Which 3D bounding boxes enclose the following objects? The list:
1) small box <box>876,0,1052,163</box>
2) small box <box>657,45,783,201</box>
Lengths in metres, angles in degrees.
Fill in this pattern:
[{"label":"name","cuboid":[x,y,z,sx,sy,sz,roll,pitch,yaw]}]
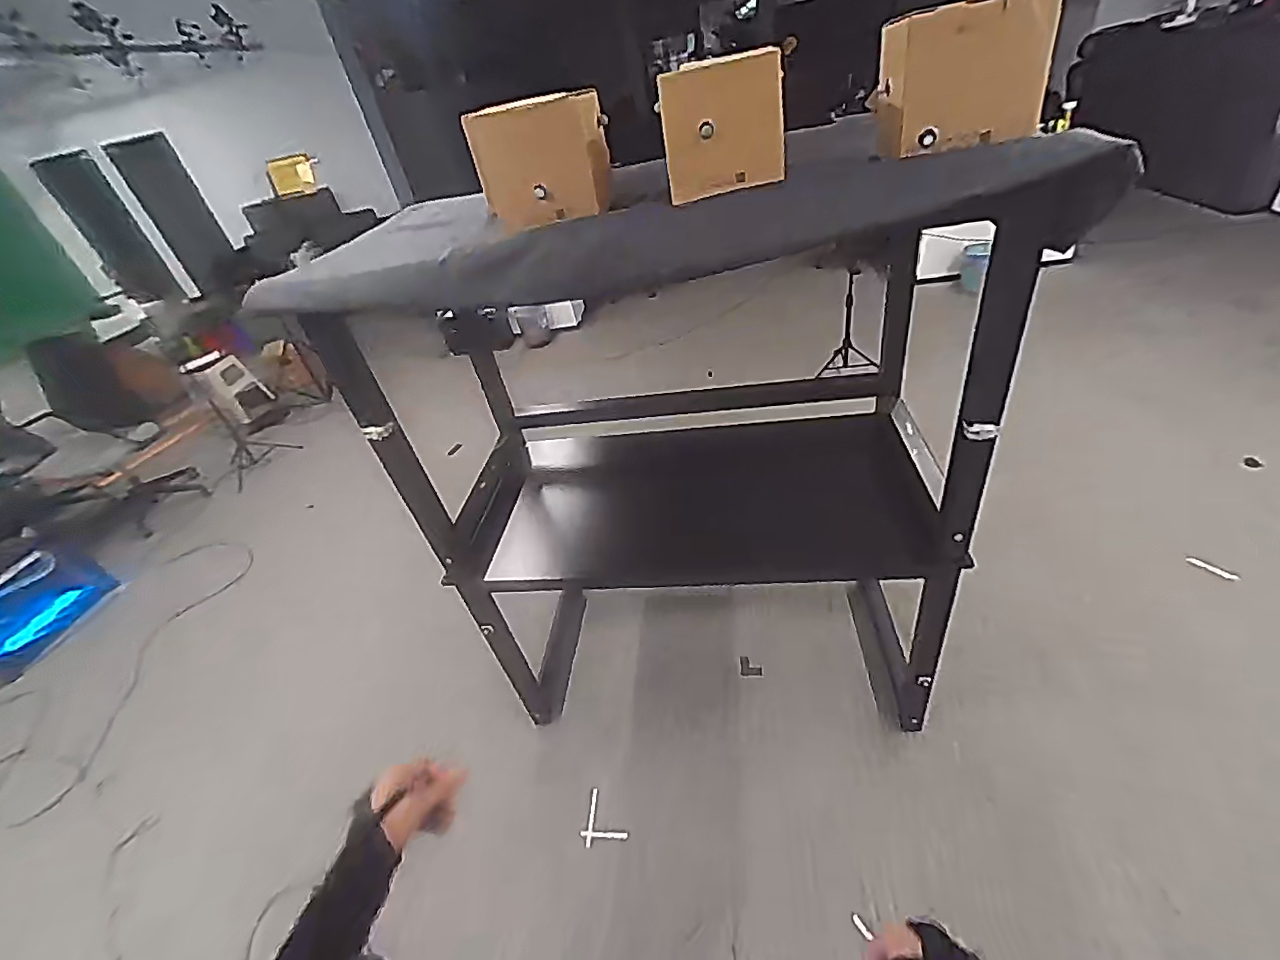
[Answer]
[{"label":"small box","cuboid":[0.432,-0.551,0.748,0.168,0.176,0.179,-3,34,13]},{"label":"small box","cuboid":[0.128,-0.541,0.833,0.168,0.176,0.179,-4,35,11]}]
